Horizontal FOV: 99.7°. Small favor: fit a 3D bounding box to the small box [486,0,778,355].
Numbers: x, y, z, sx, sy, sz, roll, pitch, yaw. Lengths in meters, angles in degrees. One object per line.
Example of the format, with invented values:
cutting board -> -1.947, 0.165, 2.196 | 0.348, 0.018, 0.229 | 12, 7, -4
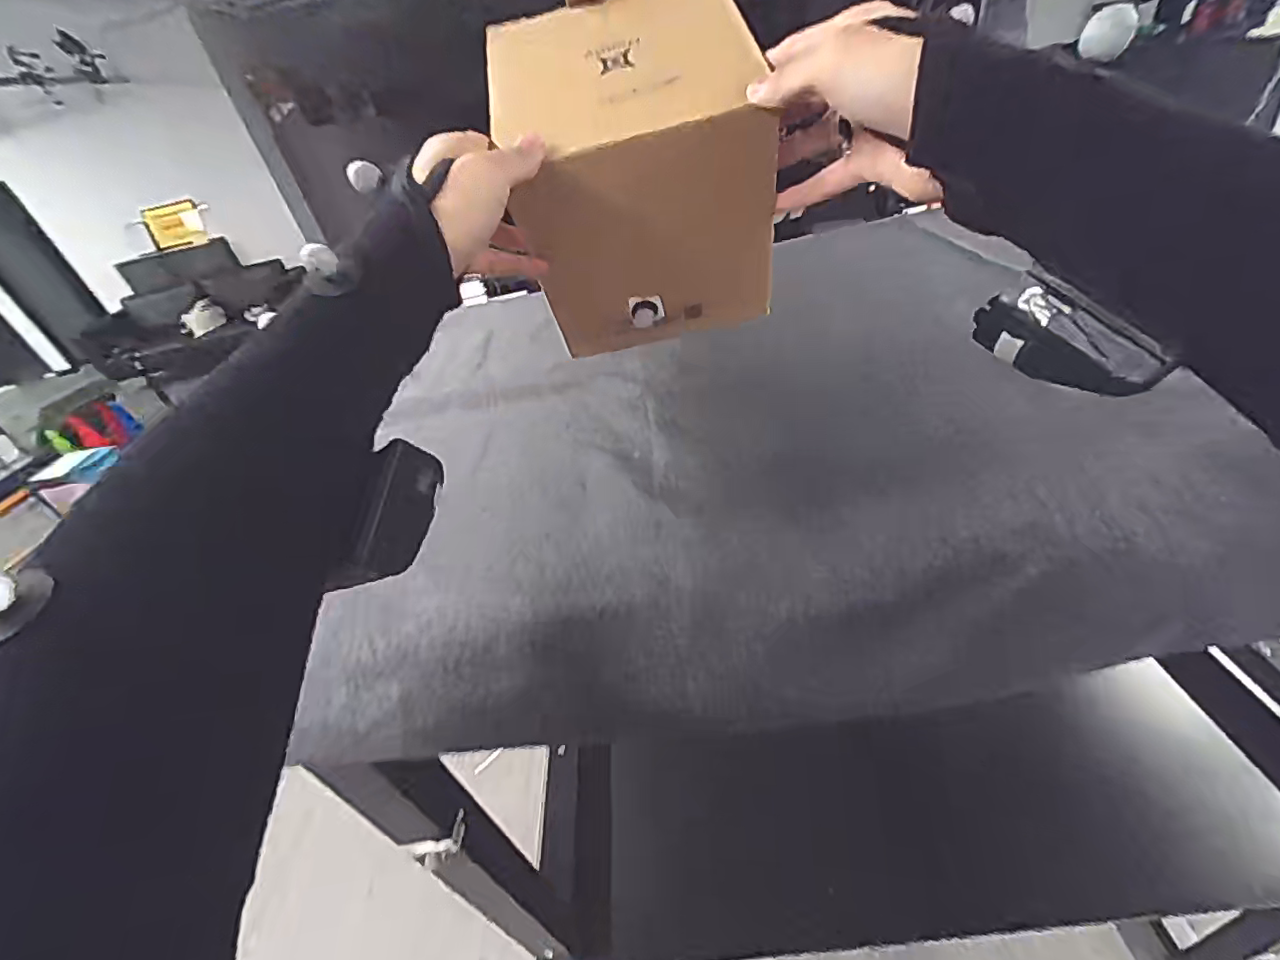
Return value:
small box -> -0.003, -0.225, 0.405 | 0.168, 0.176, 0.179 | -13, 60, 5
